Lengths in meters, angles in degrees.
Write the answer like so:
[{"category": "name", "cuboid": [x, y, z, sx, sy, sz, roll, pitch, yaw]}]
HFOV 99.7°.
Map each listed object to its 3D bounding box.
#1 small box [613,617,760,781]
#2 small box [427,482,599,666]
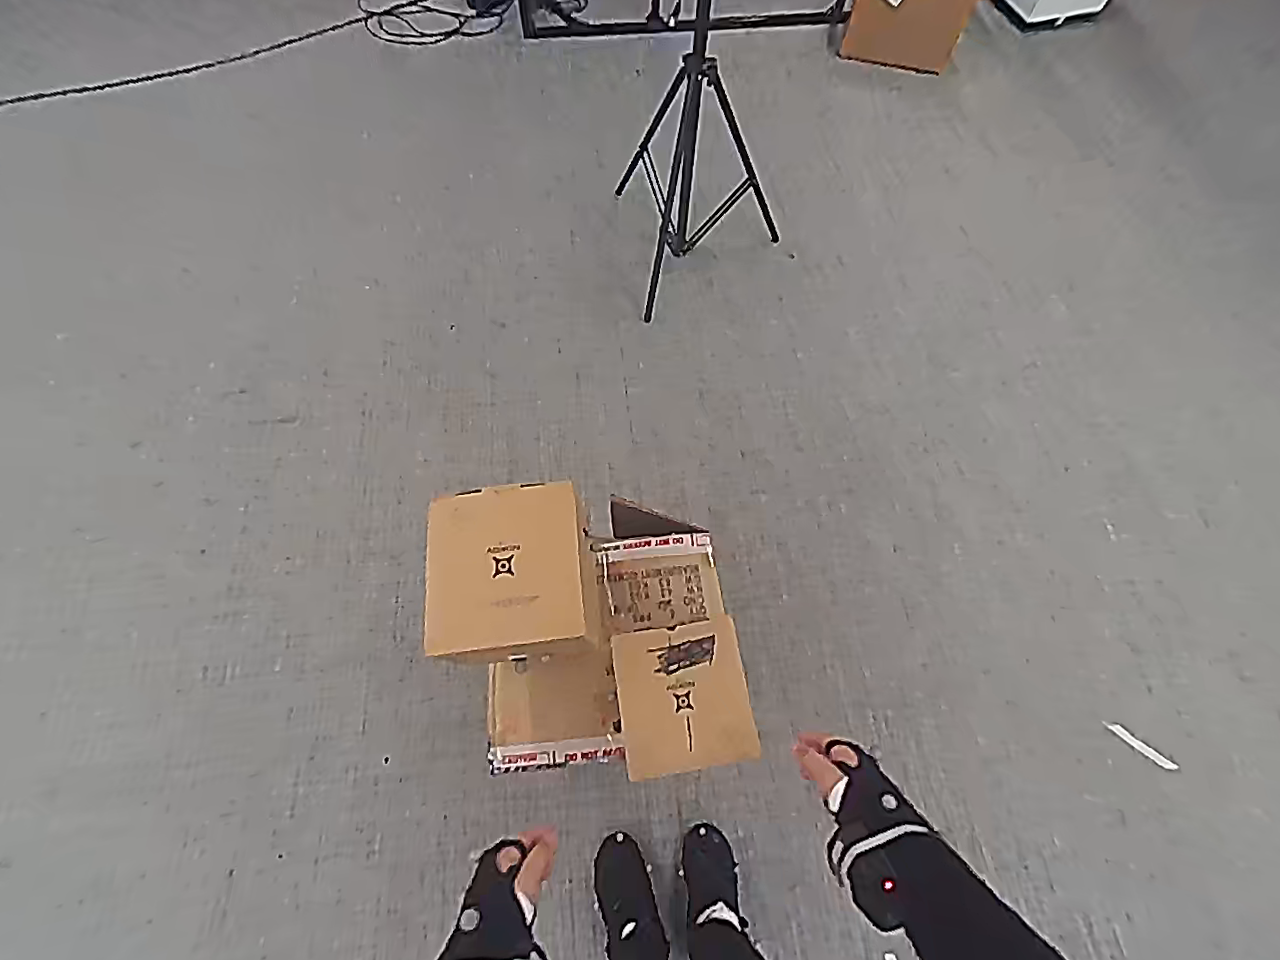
[{"category": "small box", "cuboid": [0.052, 0.301, 0.754, 0.168, 0.176, 0.179, -8, 69, -4]}, {"category": "small box", "cuboid": [-0.143, 0.120, 0.652, 0.168, 0.176, 0.179, -7, 69, -2]}]
